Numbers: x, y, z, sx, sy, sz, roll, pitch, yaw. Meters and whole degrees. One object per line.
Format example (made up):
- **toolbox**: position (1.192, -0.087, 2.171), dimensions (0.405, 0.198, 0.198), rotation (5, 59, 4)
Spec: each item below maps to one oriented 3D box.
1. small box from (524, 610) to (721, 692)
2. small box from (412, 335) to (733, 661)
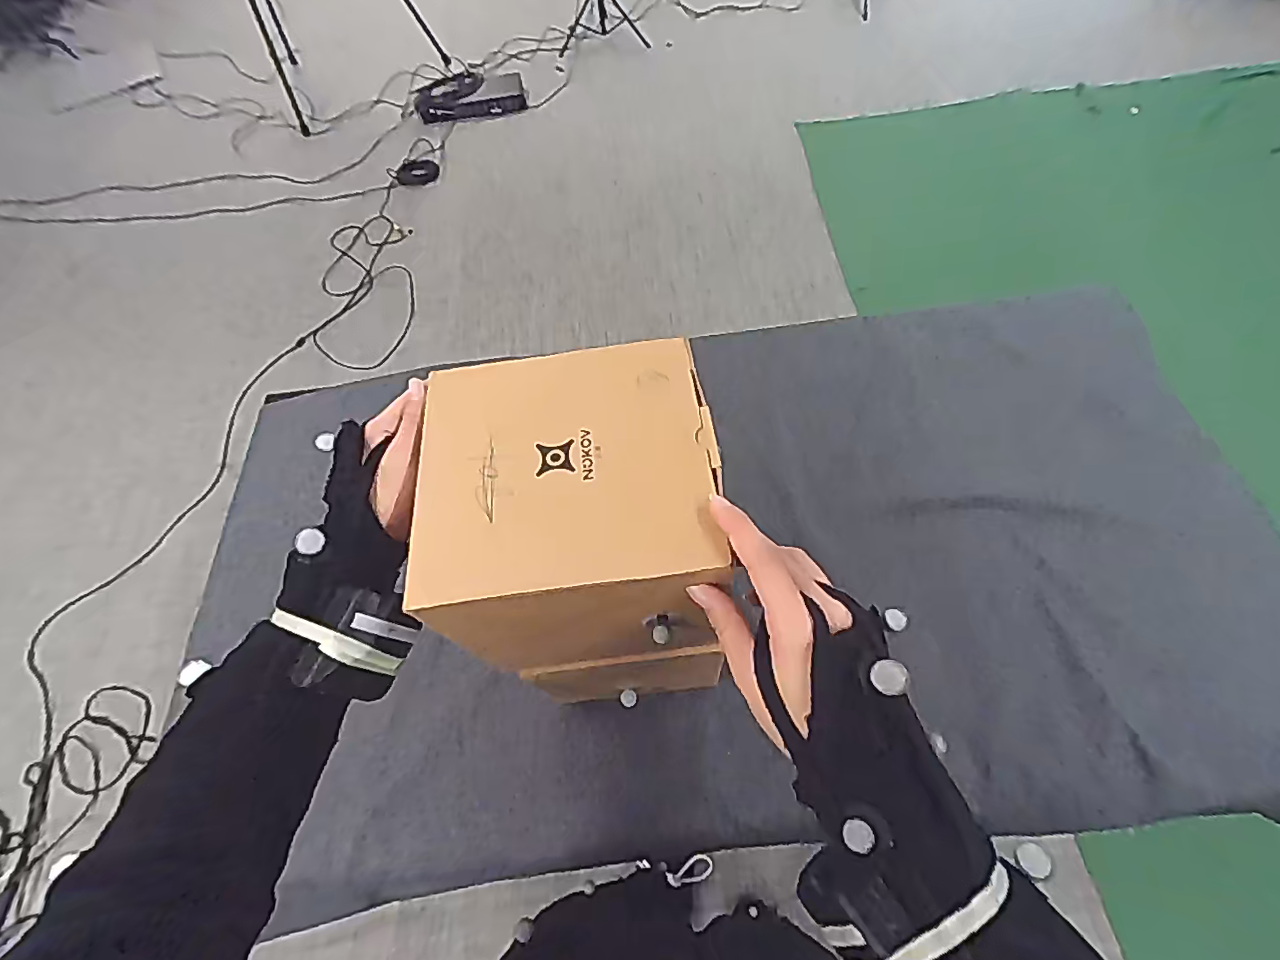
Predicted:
- **small box**: position (-0.018, 0.101, 0.536), dimensions (0.168, 0.176, 0.179), rotation (-7, 61, 2)
- **small box**: position (-0.037, 0.023, 0.395), dimensions (0.179, 0.176, 0.168), rotation (-9, 59, 2)
